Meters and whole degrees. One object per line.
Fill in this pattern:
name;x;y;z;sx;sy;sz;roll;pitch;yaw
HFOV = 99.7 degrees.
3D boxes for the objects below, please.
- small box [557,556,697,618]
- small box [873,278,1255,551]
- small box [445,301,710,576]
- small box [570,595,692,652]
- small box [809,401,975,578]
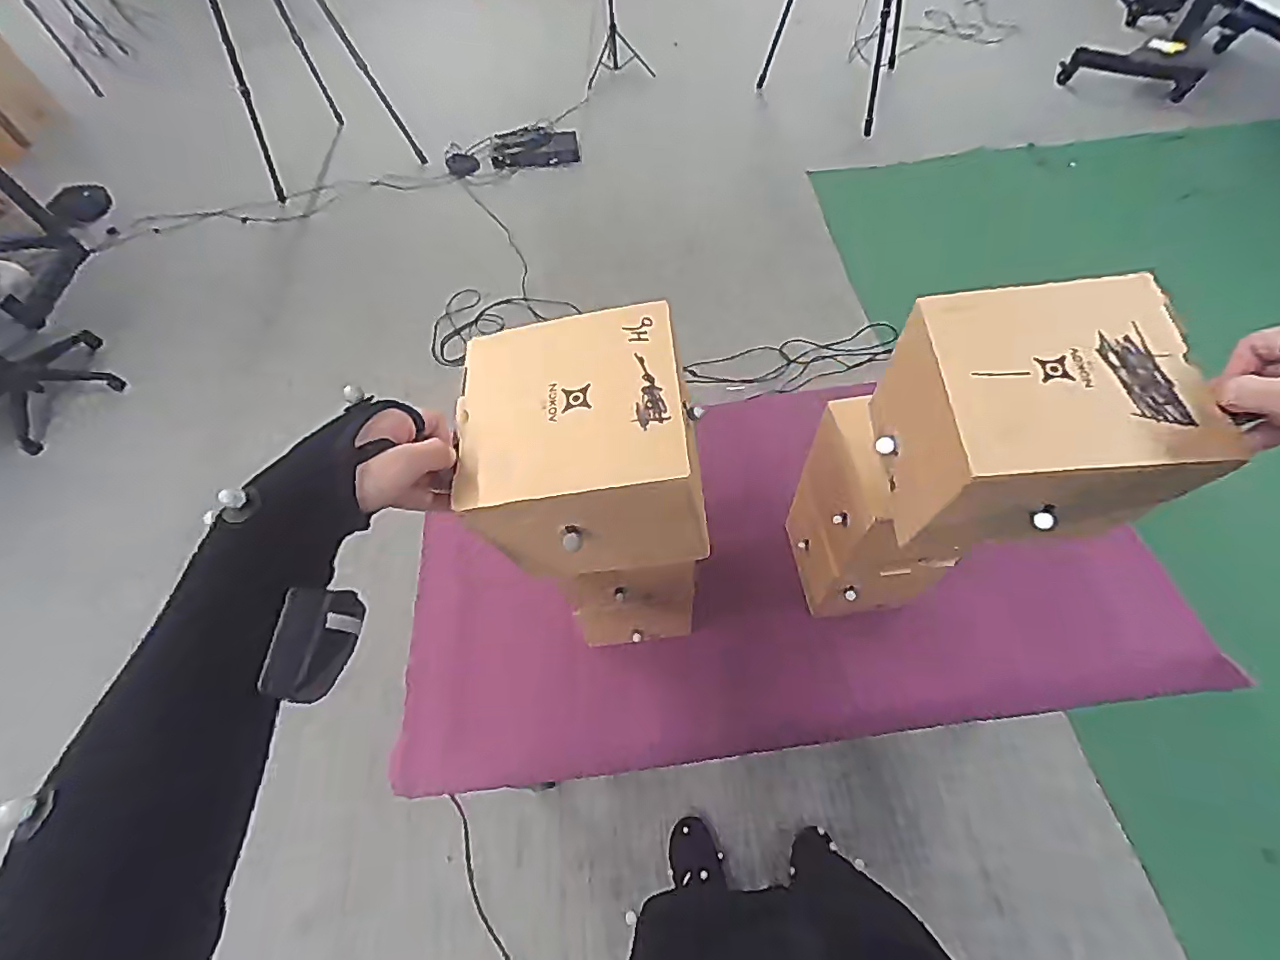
small box;-0.025;0.058;0.693;0.168;0.176;0.179;-8;58;-1
small box;0.321;-0.043;0.462;0.179;0.176;0.168;-3;64;7
small box;-0.040;-0.023;0.473;0.179;0.176;0.168;-8;61;9
small box;-0.015;0.148;0.829;0.168;0.176;0.179;-7;57;0
small box;0.332;0.015;0.694;0.168;0.176;0.179;-7;56;-1
